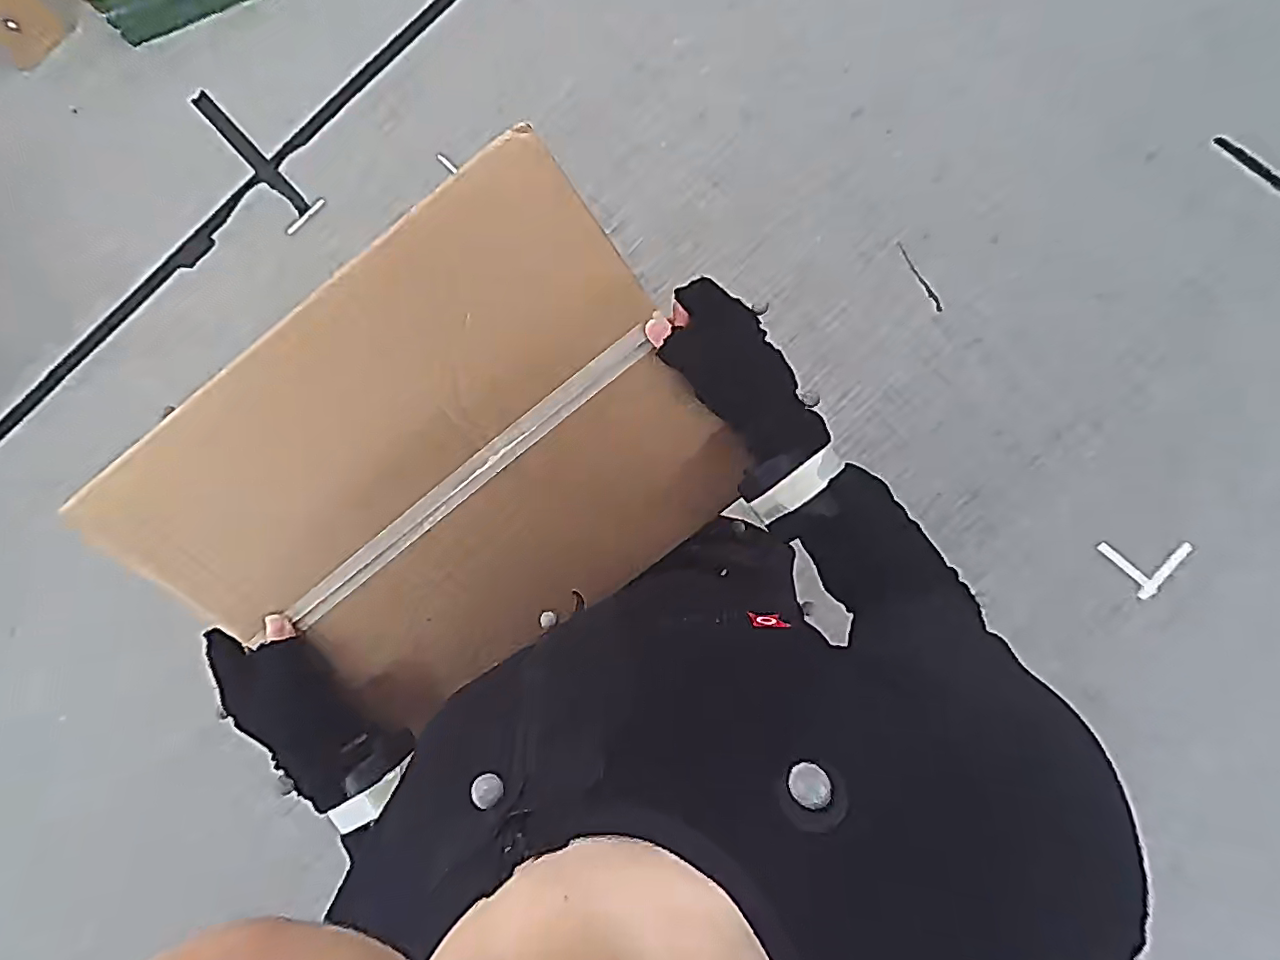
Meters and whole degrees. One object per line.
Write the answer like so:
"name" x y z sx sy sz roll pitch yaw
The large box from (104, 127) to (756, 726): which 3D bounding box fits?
"large box" -0.167 -0.051 0.560 0.408 0.320 0.320 -38 113 4
